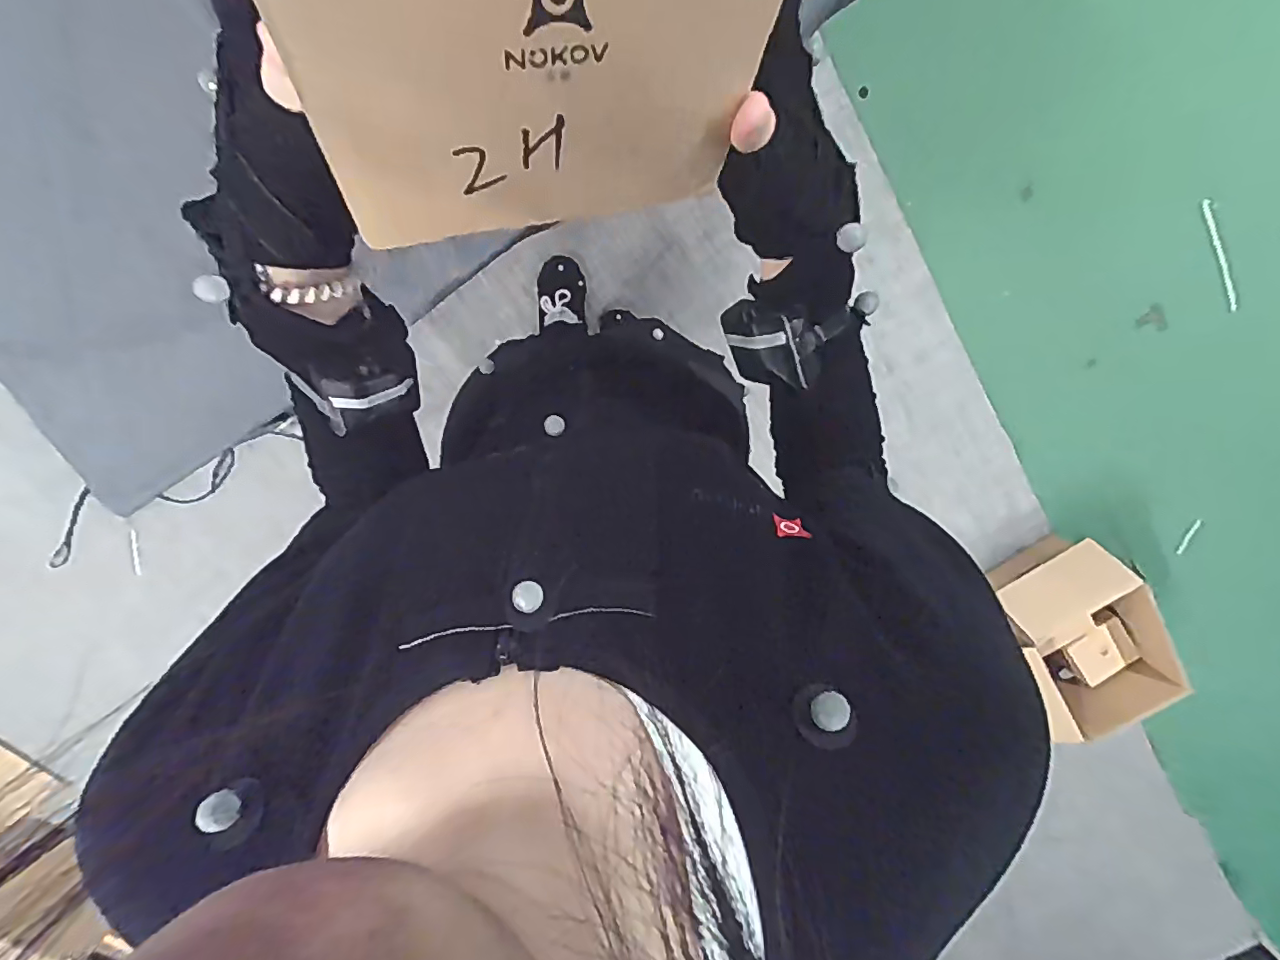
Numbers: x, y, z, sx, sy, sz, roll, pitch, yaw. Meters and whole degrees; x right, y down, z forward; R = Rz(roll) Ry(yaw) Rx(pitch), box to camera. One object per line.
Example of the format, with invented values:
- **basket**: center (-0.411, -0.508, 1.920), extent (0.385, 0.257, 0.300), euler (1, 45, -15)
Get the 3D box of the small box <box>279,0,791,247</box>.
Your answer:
- **small box**: center (-0.050, -0.221, 0.189), extent (0.168, 0.179, 0.176), euler (-16, 75, -15)
